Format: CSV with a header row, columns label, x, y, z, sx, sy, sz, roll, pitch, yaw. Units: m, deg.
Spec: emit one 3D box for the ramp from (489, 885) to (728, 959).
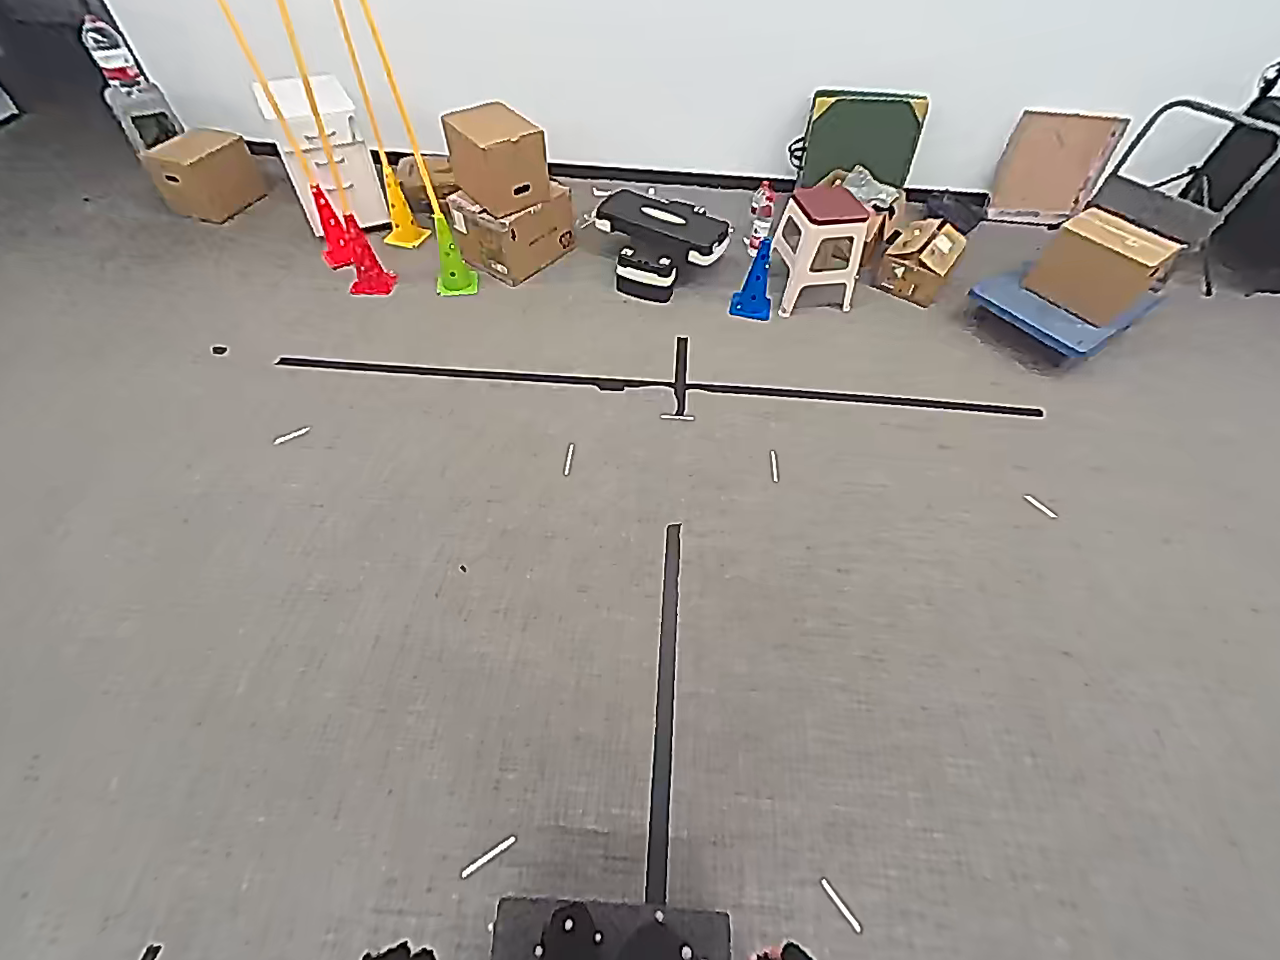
label,x,y,z,sx,sy,sz,roll,pitch,yaw
ramp,-0.087,1.322,0.927,0.509,0.206,0.991,4,53,-2
